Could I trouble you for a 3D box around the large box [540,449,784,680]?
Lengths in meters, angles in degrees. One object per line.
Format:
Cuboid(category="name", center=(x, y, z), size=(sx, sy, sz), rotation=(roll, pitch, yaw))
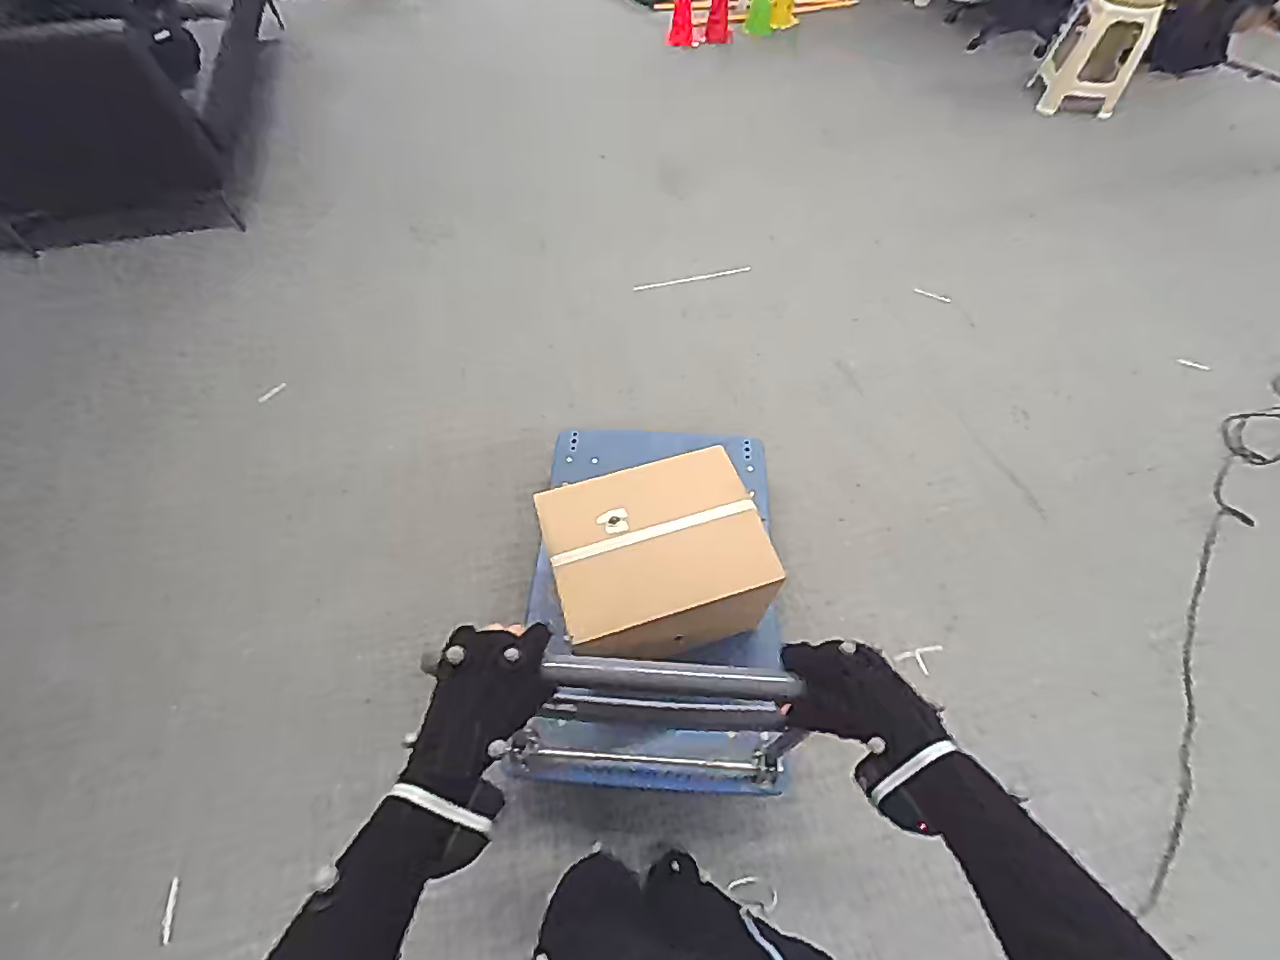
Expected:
Cuboid(category="large box", center=(0.037, 0.189, 1.163), size=(0.408, 0.320, 0.320), rotation=(-17, 59, -8))
